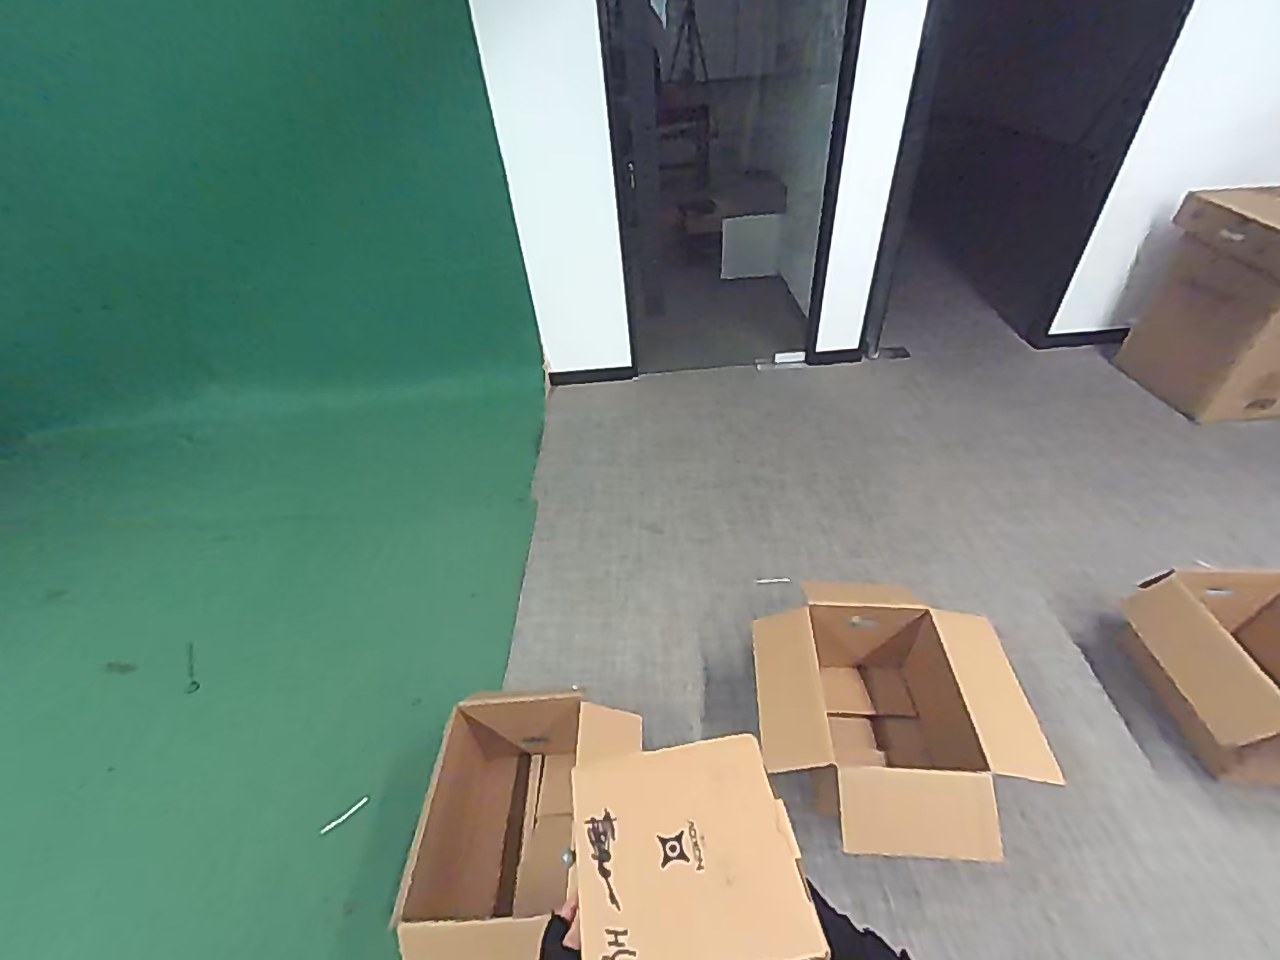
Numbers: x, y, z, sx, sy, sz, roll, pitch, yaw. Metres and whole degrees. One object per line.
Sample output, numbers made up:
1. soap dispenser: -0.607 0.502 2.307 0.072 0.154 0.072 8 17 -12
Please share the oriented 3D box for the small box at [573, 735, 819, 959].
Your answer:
1. small box: 0.036 0.362 0.489 0.179 0.176 0.168 -6 36 -5
